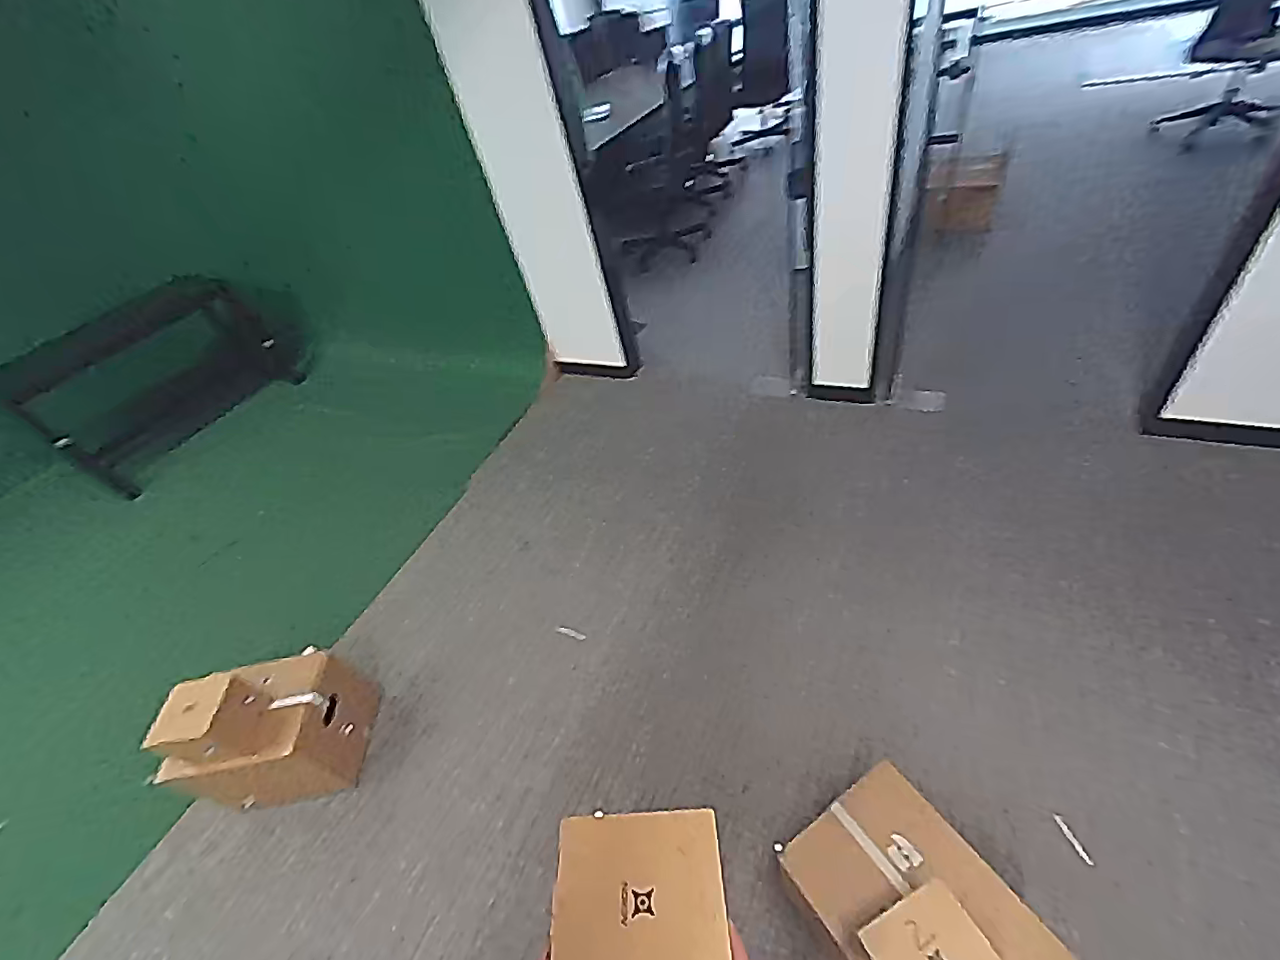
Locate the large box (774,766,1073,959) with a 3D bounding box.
[{"bbox_3d":[0.526,0.884,1.076,0.320,0.320,0.408,-30,44,-16],"label":"large box"}]

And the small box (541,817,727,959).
[{"bbox_3d":[-0.002,0.489,0.579,0.179,0.176,0.168,-6,36,1],"label":"small box"}]

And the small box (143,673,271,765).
[{"bbox_3d":[-1.146,0.643,1.450,0.179,0.176,0.168,-12,44,5],"label":"small box"}]
